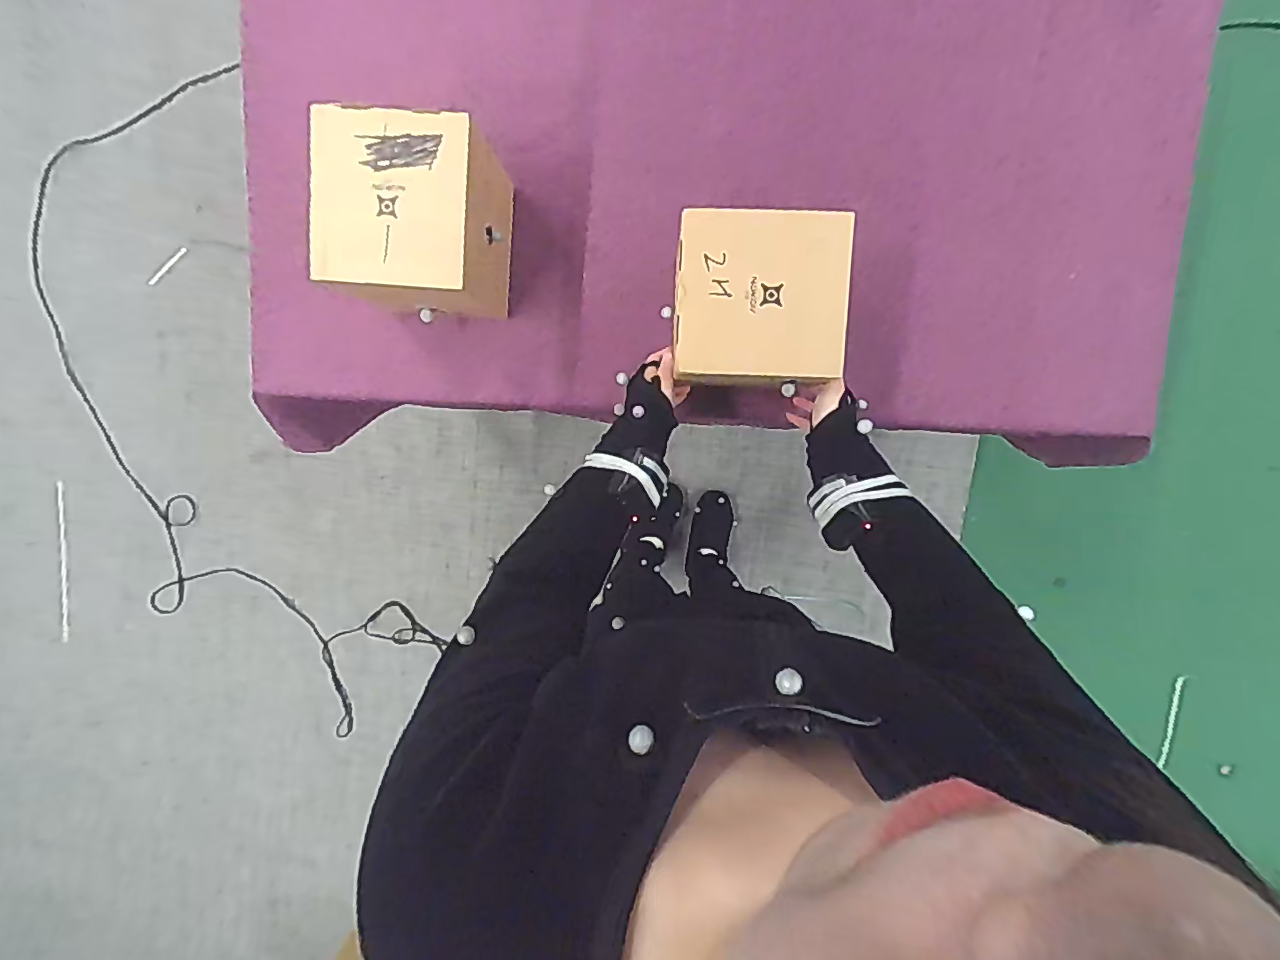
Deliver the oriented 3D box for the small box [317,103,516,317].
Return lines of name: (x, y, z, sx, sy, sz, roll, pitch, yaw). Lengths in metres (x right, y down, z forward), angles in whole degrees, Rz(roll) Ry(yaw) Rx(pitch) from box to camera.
small box: (-0.251, -0.303, 0.641, 0.168, 0.176, 0.179, 5, 97, 2)

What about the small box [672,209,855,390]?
small box: (0.130, -0.198, 0.635, 0.179, 0.176, 0.168, 3, 95, 3)
